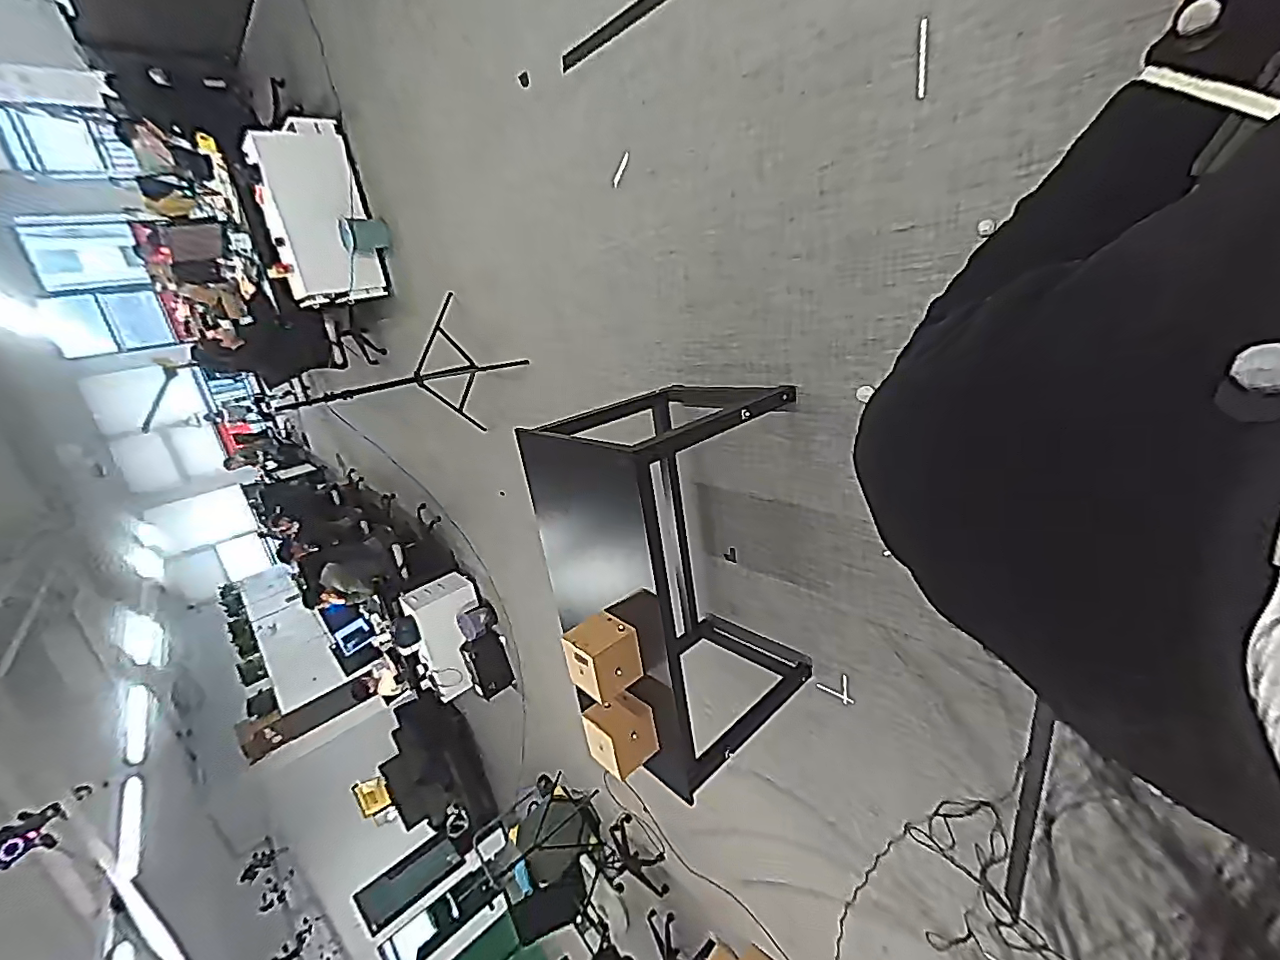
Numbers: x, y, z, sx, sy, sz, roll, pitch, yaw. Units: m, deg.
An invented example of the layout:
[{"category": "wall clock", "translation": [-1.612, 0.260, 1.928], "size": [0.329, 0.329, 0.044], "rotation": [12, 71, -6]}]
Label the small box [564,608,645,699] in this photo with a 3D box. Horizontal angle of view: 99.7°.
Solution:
[{"category": "small box", "translation": [-0.106, 0.524, 1.660], "size": [0.168, 0.176, 0.179], "rotation": [15, 122, 48]}]

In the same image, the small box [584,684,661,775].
[{"category": "small box", "translation": [-0.053, 0.799, 1.753], "size": [0.168, 0.176, 0.179], "rotation": [11, 119, 50]}]
